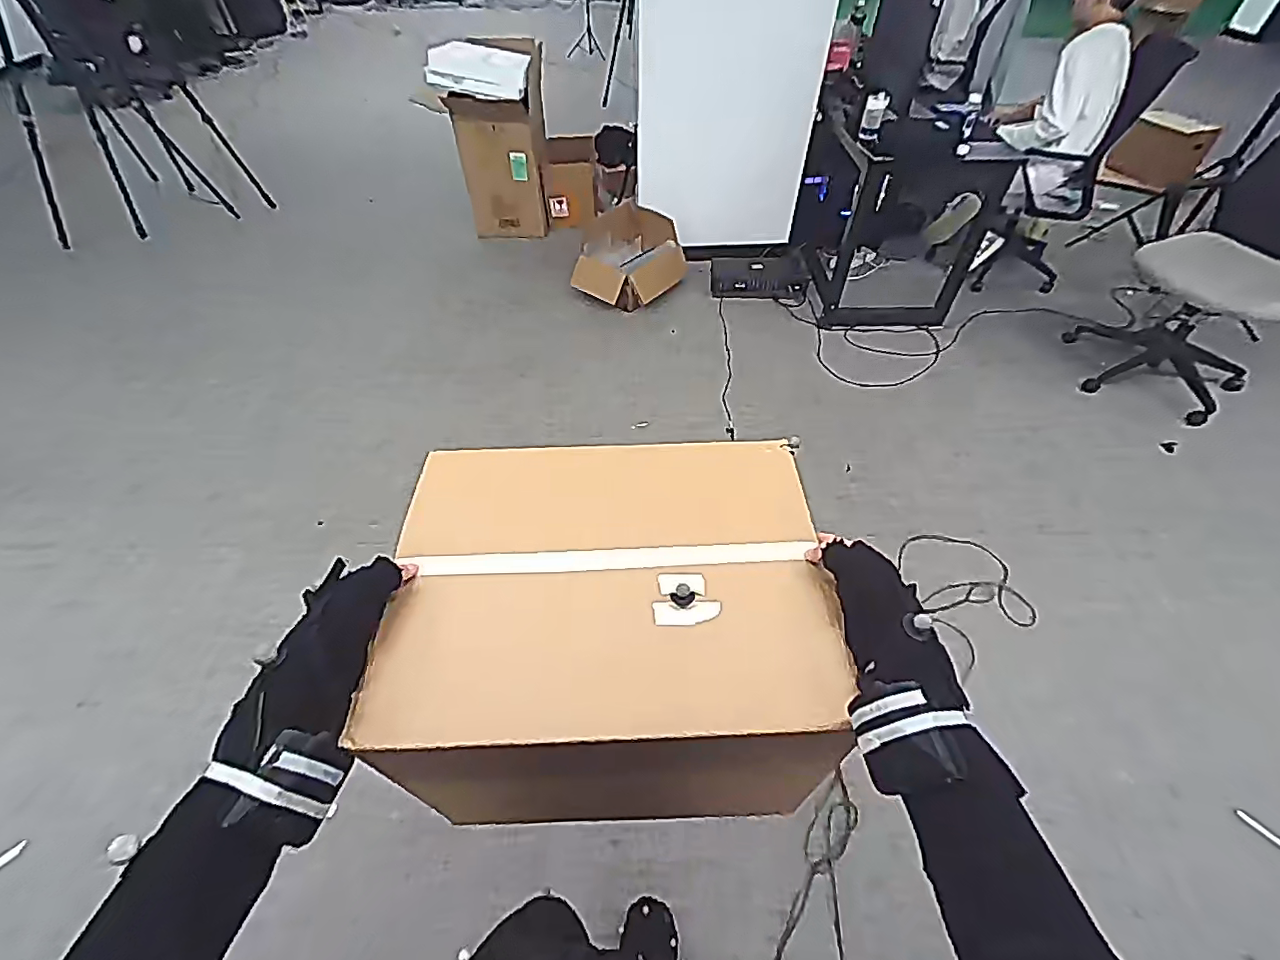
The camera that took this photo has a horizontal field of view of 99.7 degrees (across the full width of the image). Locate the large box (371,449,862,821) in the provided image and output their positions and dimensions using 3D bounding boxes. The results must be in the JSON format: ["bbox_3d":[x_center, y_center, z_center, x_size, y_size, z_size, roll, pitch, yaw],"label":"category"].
[{"bbox_3d":[-0.023,0.185,0.639,0.408,0.320,0.320,-2,48,-1],"label":"large box"}]
